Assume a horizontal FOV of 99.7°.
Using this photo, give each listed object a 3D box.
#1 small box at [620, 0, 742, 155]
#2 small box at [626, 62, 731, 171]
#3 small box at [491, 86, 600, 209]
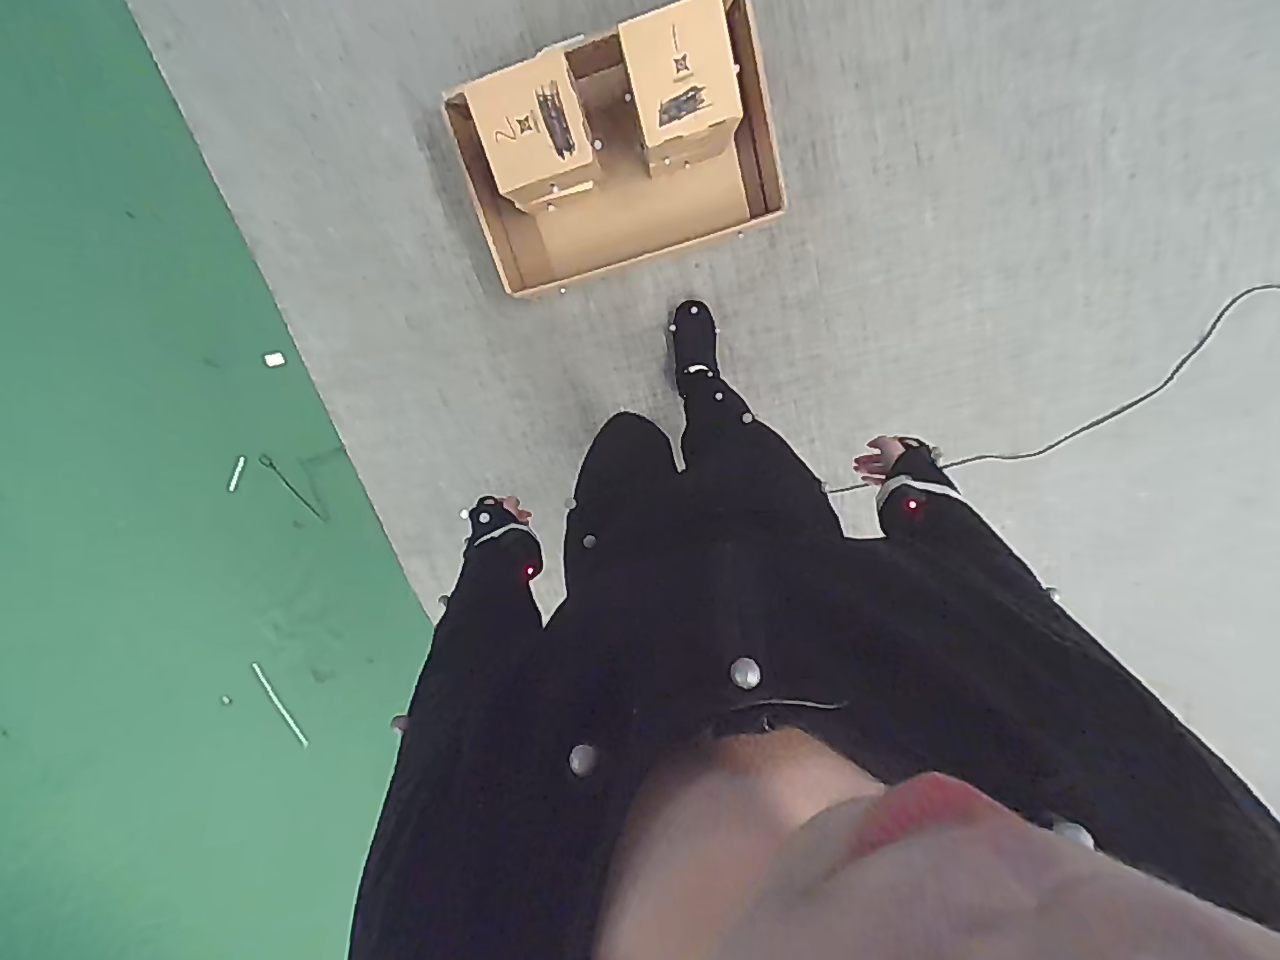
[{"bbox_3d":[0.072,-0.683,0.932,0.168,0.176,0.179,-14,110,8],"label":"small box"},{"bbox_3d":[0.078,-0.742,1.086,0.168,0.176,0.179,-14,111,8],"label":"small box"},{"bbox_3d":[-0.185,-0.676,1.123,0.168,0.176,0.179,-11,110,6],"label":"small box"}]
